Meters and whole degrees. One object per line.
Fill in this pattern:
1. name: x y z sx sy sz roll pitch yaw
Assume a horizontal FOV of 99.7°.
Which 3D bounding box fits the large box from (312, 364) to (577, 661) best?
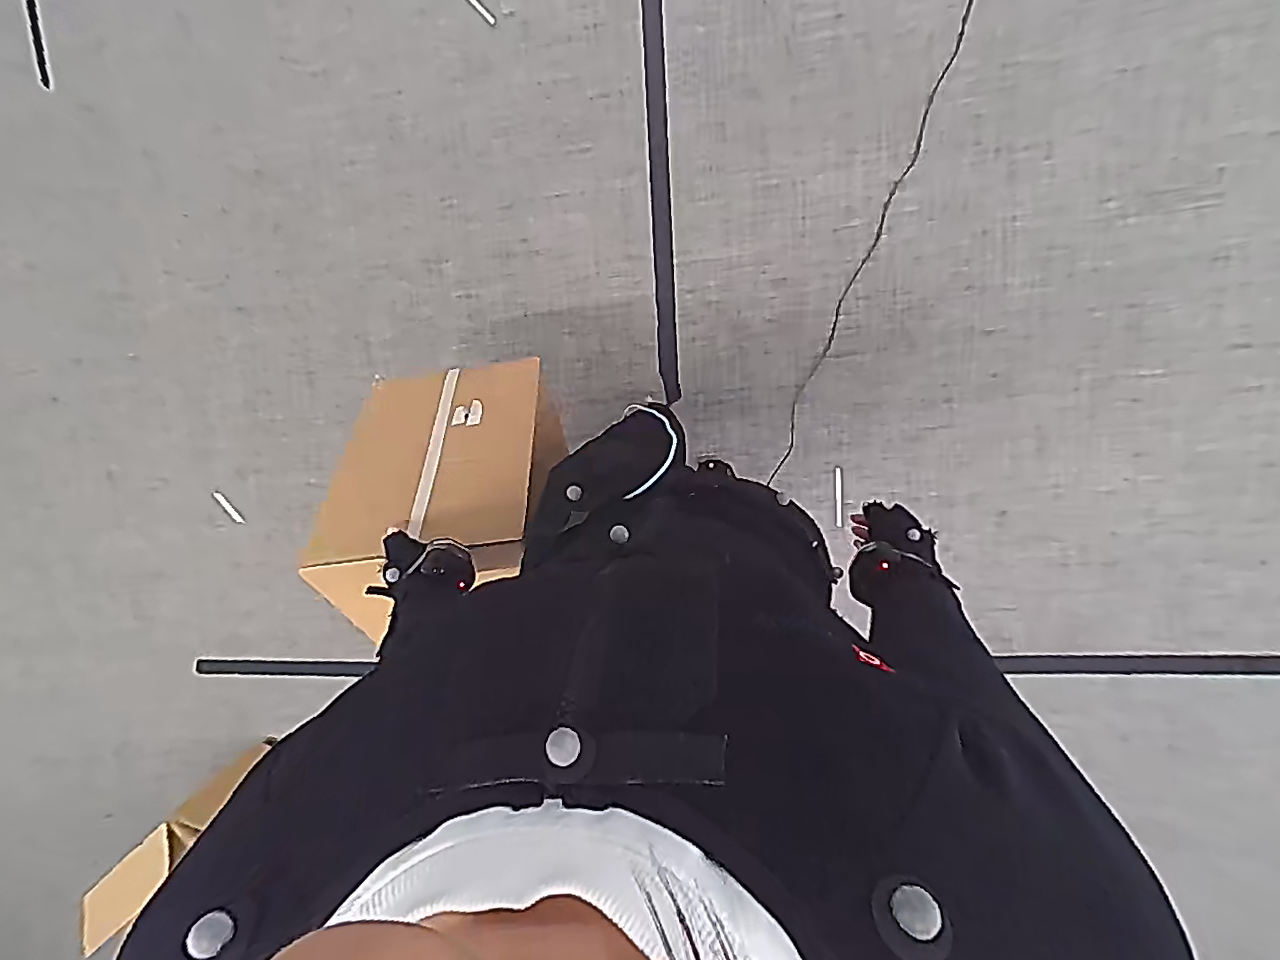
1. large box: -0.296 0.055 0.965 0.320 0.408 0.320 -7 138 1
